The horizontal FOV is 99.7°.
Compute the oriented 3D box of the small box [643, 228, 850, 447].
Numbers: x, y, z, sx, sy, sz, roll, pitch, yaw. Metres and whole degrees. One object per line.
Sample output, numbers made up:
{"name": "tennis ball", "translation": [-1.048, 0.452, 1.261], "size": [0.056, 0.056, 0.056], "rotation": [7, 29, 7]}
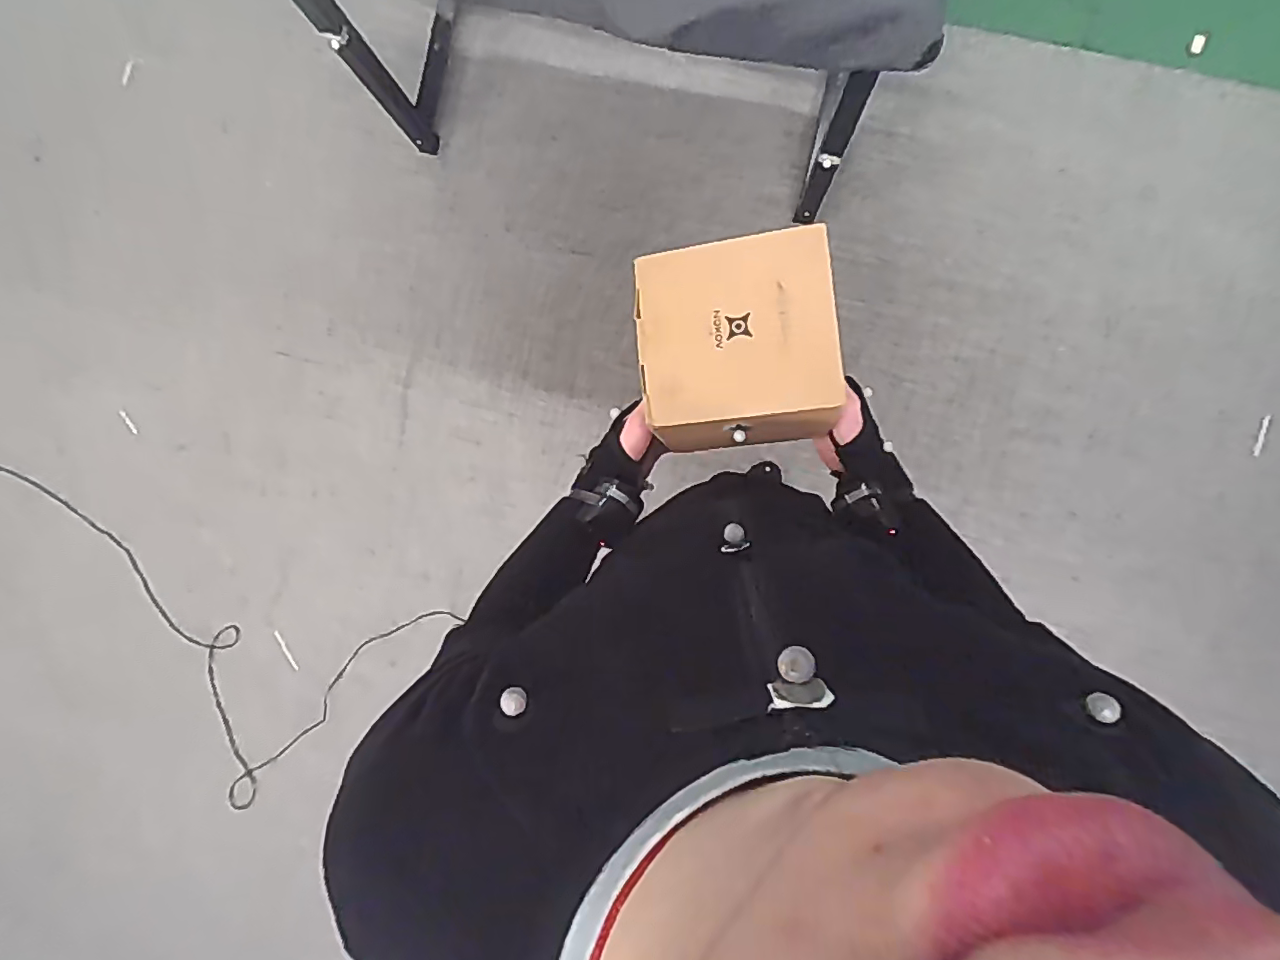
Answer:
{"name": "small box", "translation": [0.110, -0.133, 0.574], "size": [0.179, 0.176, 0.168], "rotation": [-6, 85, 10]}
